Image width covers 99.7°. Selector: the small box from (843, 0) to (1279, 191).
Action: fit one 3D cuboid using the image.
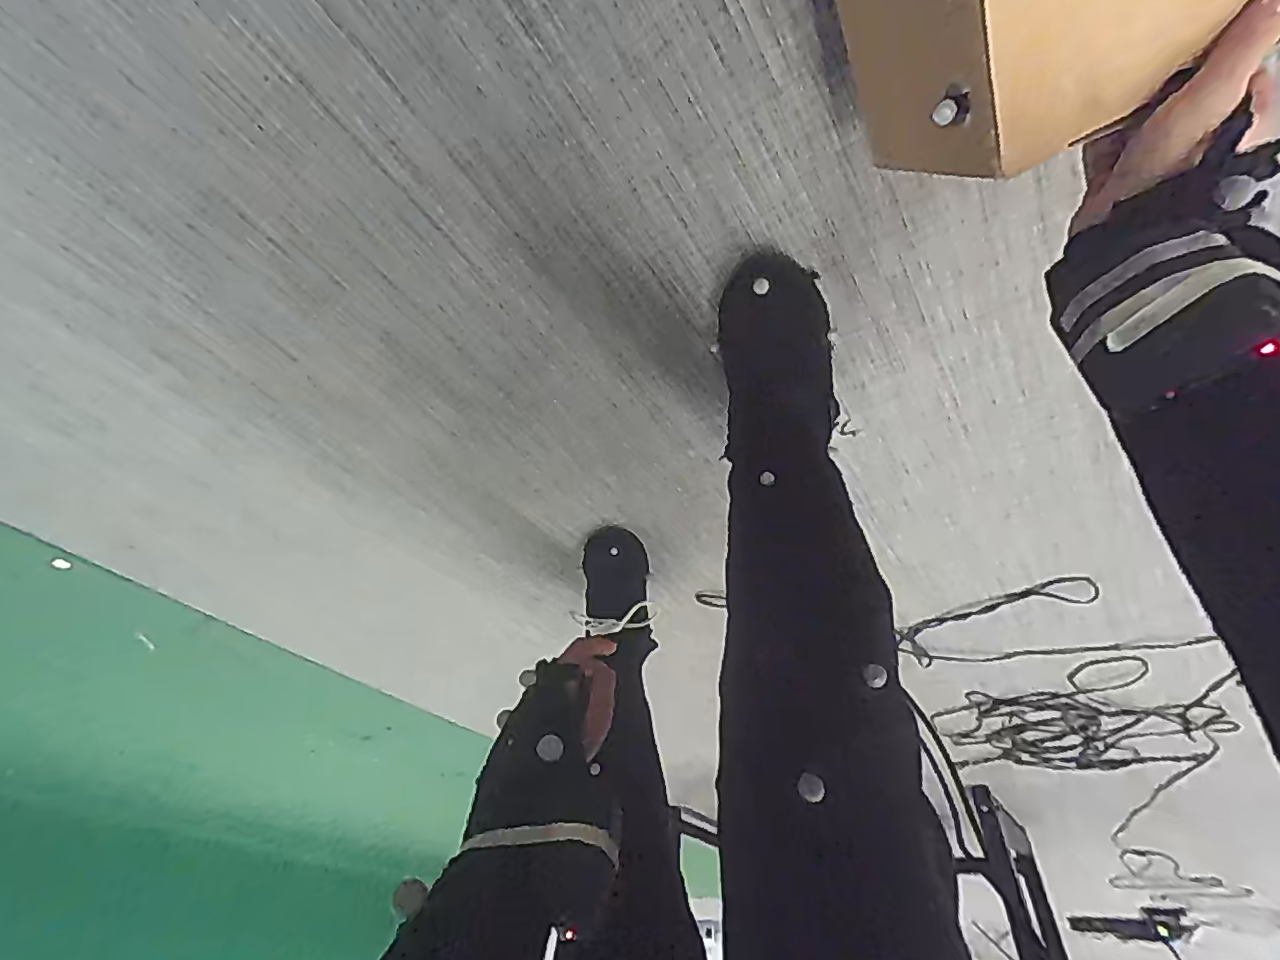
[{"bbox_3d":[0.222,-0.287,0.290,0.168,0.176,0.179,-24,122,12],"label":"small box"}]
